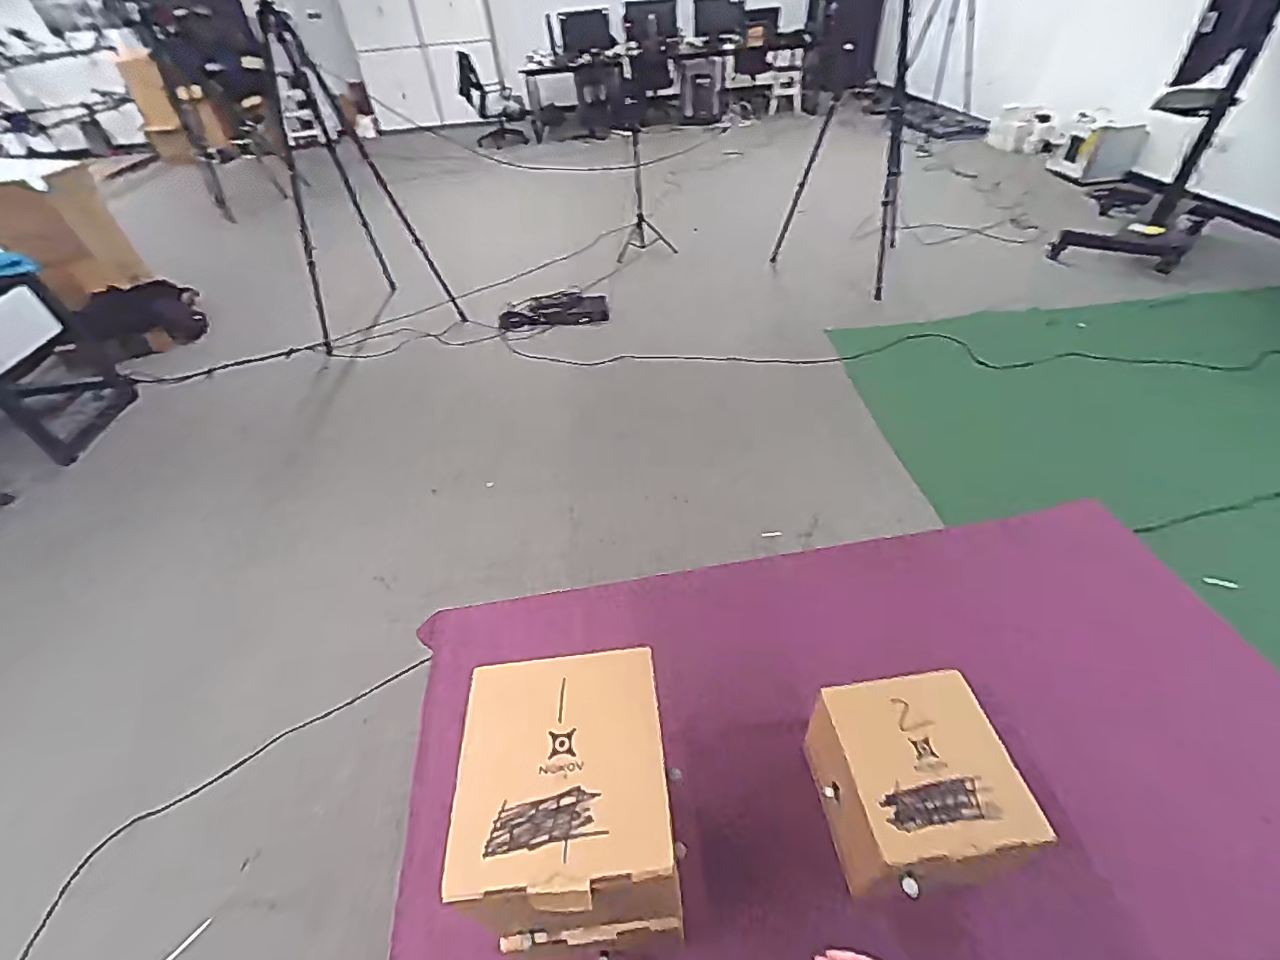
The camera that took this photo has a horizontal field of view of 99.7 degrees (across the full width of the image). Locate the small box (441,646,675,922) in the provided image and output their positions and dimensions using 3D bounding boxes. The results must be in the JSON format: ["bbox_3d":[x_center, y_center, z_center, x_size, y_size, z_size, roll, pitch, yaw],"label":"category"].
[{"bbox_3d":[-0.059,0.278,0.492,0.168,0.176,0.179,-5,43,-1],"label":"small box"}]

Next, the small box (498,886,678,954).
[{"bbox_3d":[-0.050,0.403,0.600,0.168,0.176,0.179,-6,45,-2],"label":"small box"}]
